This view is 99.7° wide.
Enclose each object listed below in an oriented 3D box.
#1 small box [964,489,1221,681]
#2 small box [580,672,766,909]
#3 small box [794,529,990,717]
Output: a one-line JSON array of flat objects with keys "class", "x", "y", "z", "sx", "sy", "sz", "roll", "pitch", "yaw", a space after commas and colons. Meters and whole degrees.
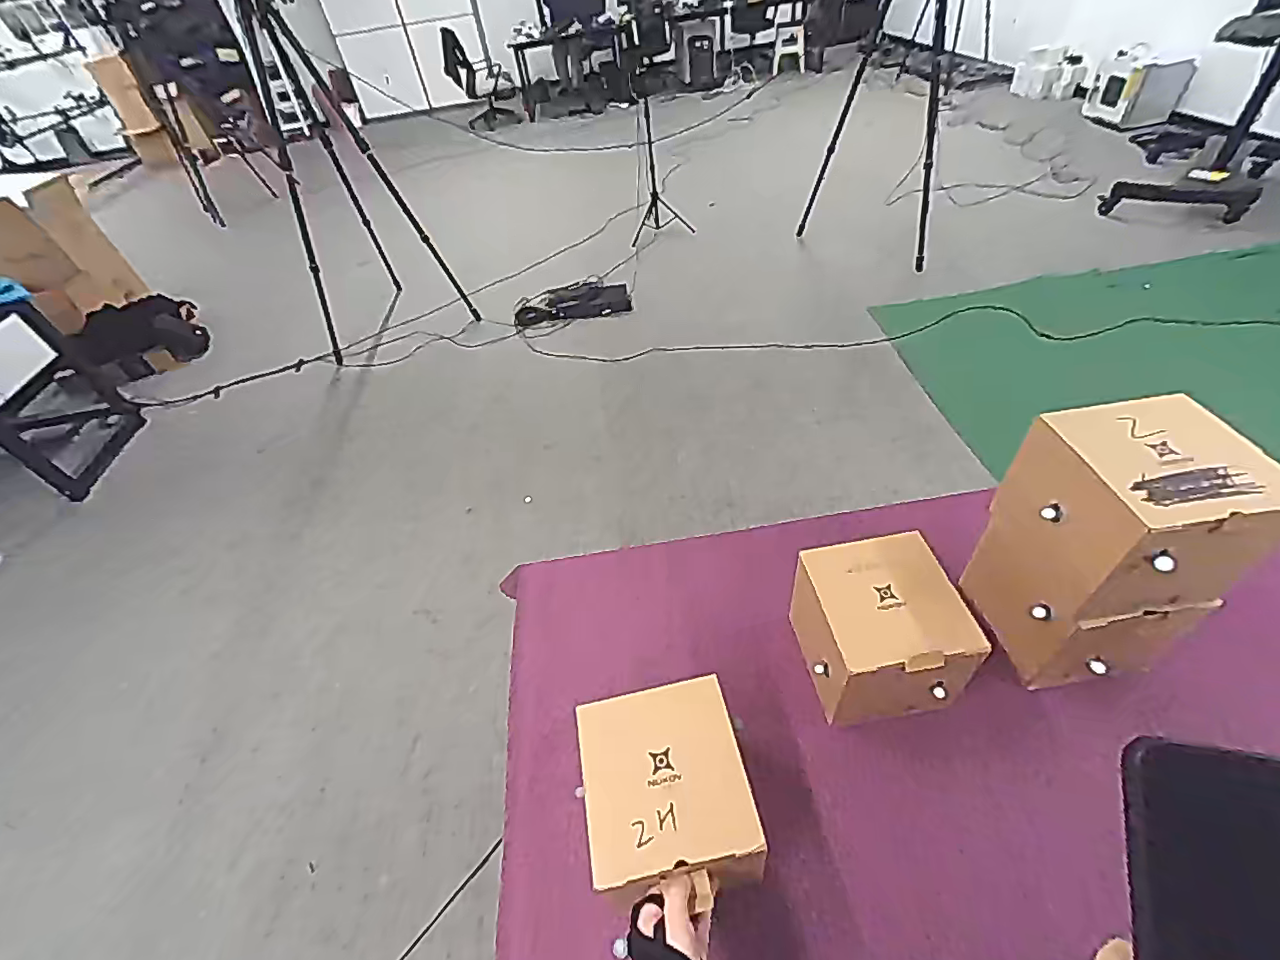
[{"class": "small box", "x": 0.573, "y": 0.141, "z": 0.722, "sx": 0.168, "sy": 0.176, "sz": 0.179, "roll": -11, "pitch": 46, "yaw": 0}, {"class": "small box", "x": 0.034, "y": 0.351, "z": 0.614, "sx": 0.168, "sy": 0.176, "sz": 0.179, "roll": -13, "pitch": 45, "yaw": -2}, {"class": "small box", "x": 0.314, "y": 0.196, "z": 0.718, "sx": 0.168, "sy": 0.176, "sz": 0.179, "roll": -10, "pitch": 45, "yaw": 0}]
